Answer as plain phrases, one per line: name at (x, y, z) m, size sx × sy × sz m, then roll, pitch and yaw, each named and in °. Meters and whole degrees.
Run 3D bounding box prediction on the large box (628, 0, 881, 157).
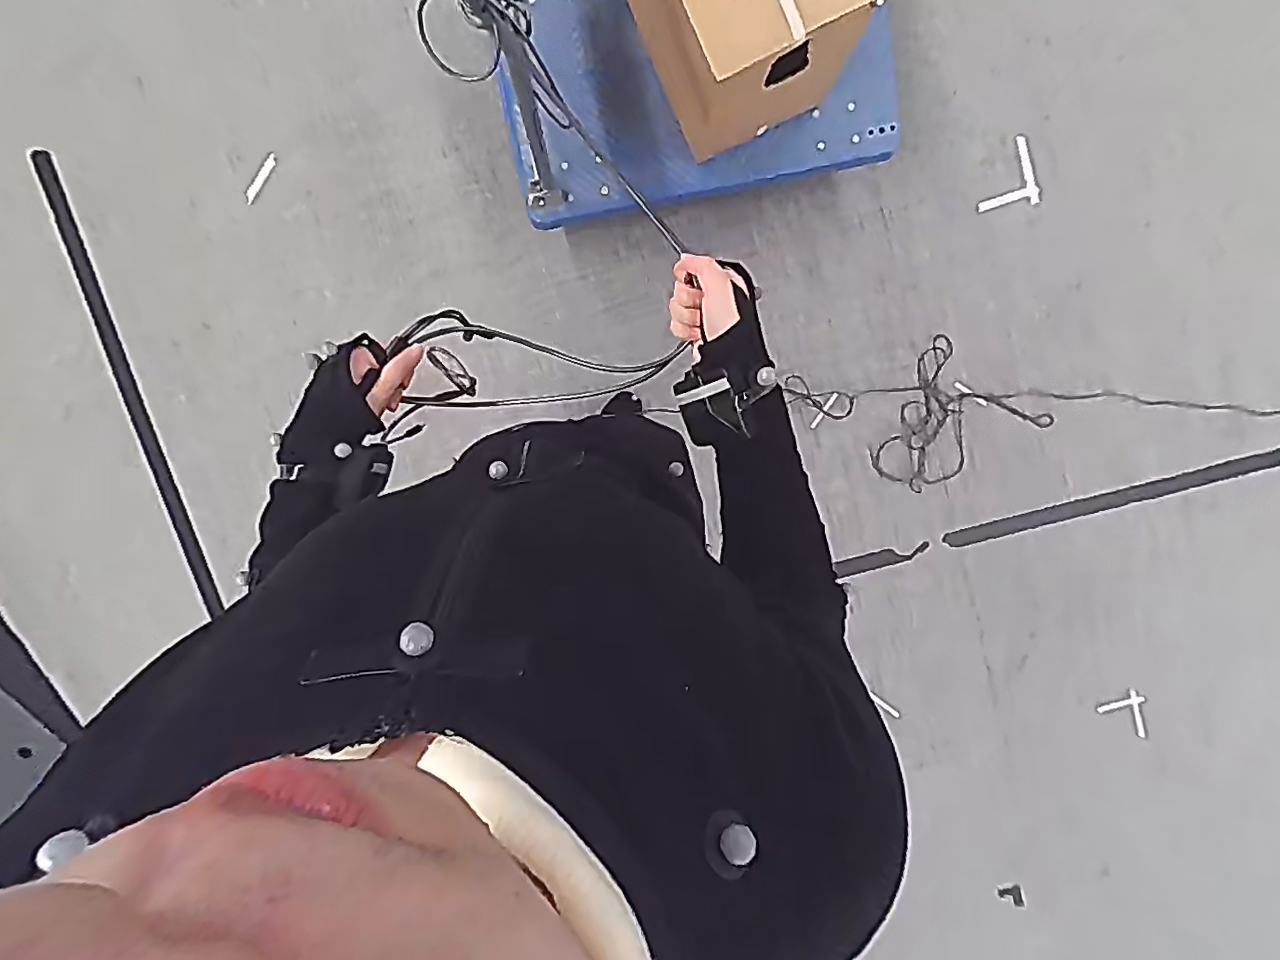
large box at (0.184, -0.943, 1.040) m, size 0.320 × 0.320 × 0.408 m, roll -25°, pitch 98°, yaw 4°
